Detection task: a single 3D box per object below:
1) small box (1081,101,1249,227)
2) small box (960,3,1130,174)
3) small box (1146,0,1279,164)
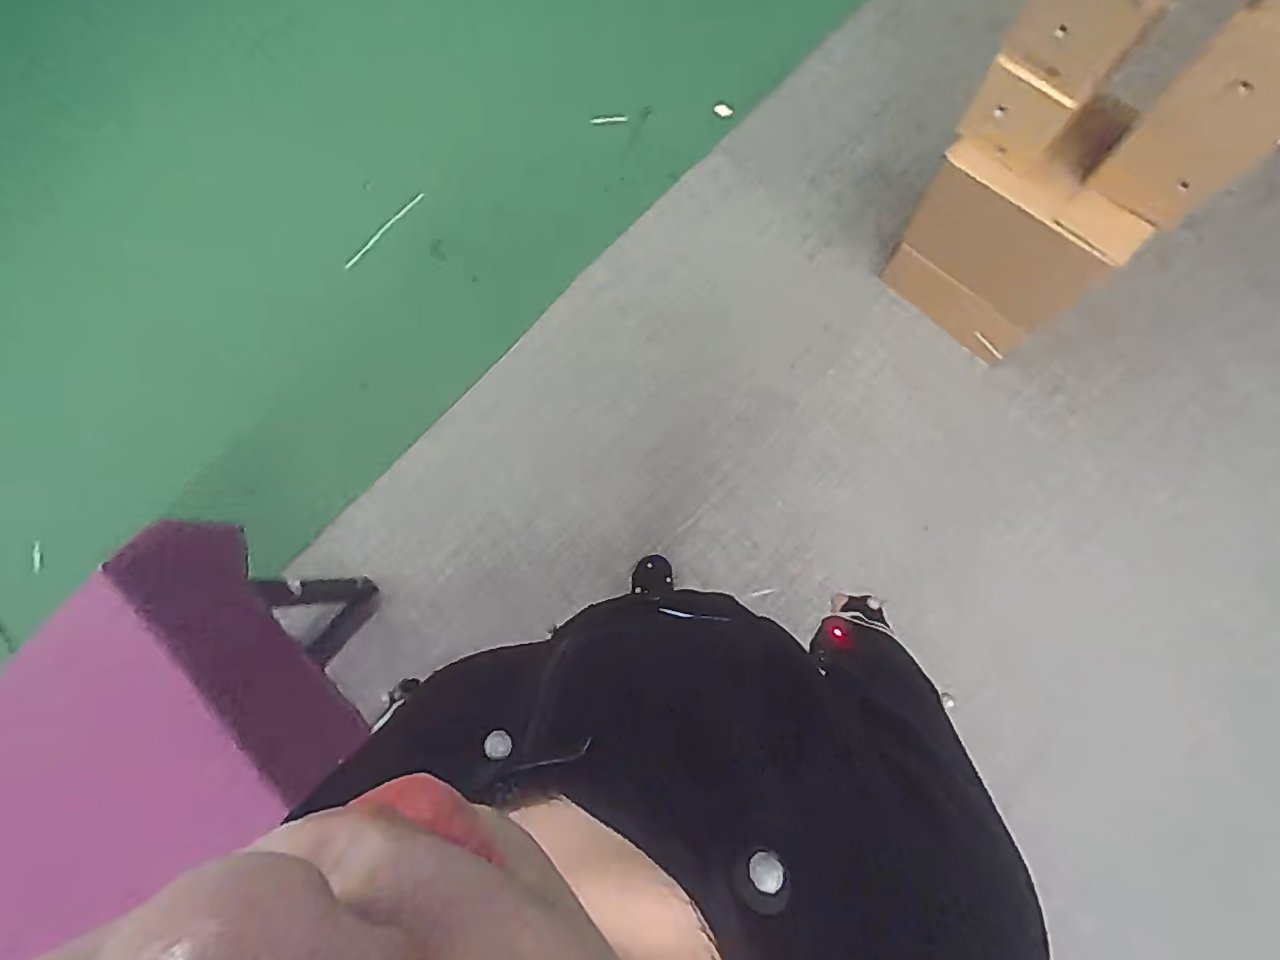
[{"bbox_3d":[0.986,-0.603,0.993,0.179,0.176,0.168,43,87,14],"label":"small box"},{"bbox_3d":[0.761,-0.743,1.046,0.179,0.176,0.168,-44,78,-2],"label":"small box"},{"bbox_3d":[0.966,-0.632,0.833,0.168,0.176,0.179,-45,76,-3],"label":"small box"}]
